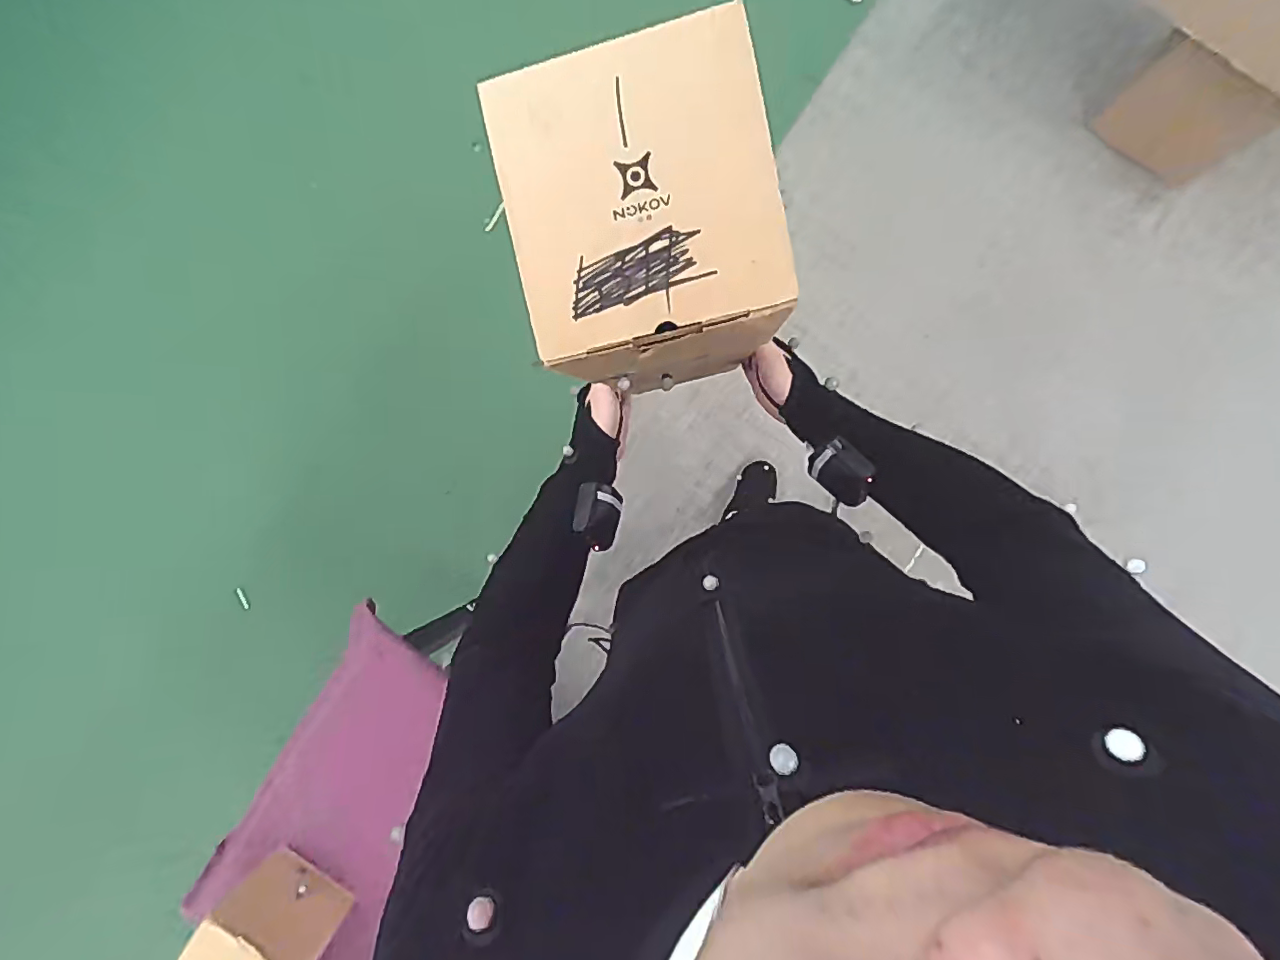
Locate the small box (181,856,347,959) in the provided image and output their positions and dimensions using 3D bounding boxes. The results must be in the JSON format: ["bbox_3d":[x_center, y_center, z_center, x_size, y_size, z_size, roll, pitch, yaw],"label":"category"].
[{"bbox_3d":[-0.622,0.776,0.878,0.168,0.176,0.179,33,92,2],"label":"small box"}]

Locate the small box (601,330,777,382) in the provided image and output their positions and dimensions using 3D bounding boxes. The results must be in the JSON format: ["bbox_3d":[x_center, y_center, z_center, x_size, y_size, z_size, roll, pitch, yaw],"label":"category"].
[{"bbox_3d":[0.033,-0.207,0.556,0.168,0.176,0.179,-11,96,7],"label":"small box"}]

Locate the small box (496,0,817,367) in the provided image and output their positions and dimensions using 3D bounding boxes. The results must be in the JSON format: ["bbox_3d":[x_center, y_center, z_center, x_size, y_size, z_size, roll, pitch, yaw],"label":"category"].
[{"bbox_3d":[0.018,-0.185,0.395,0.168,0.176,0.179,-11,94,7],"label":"small box"}]
